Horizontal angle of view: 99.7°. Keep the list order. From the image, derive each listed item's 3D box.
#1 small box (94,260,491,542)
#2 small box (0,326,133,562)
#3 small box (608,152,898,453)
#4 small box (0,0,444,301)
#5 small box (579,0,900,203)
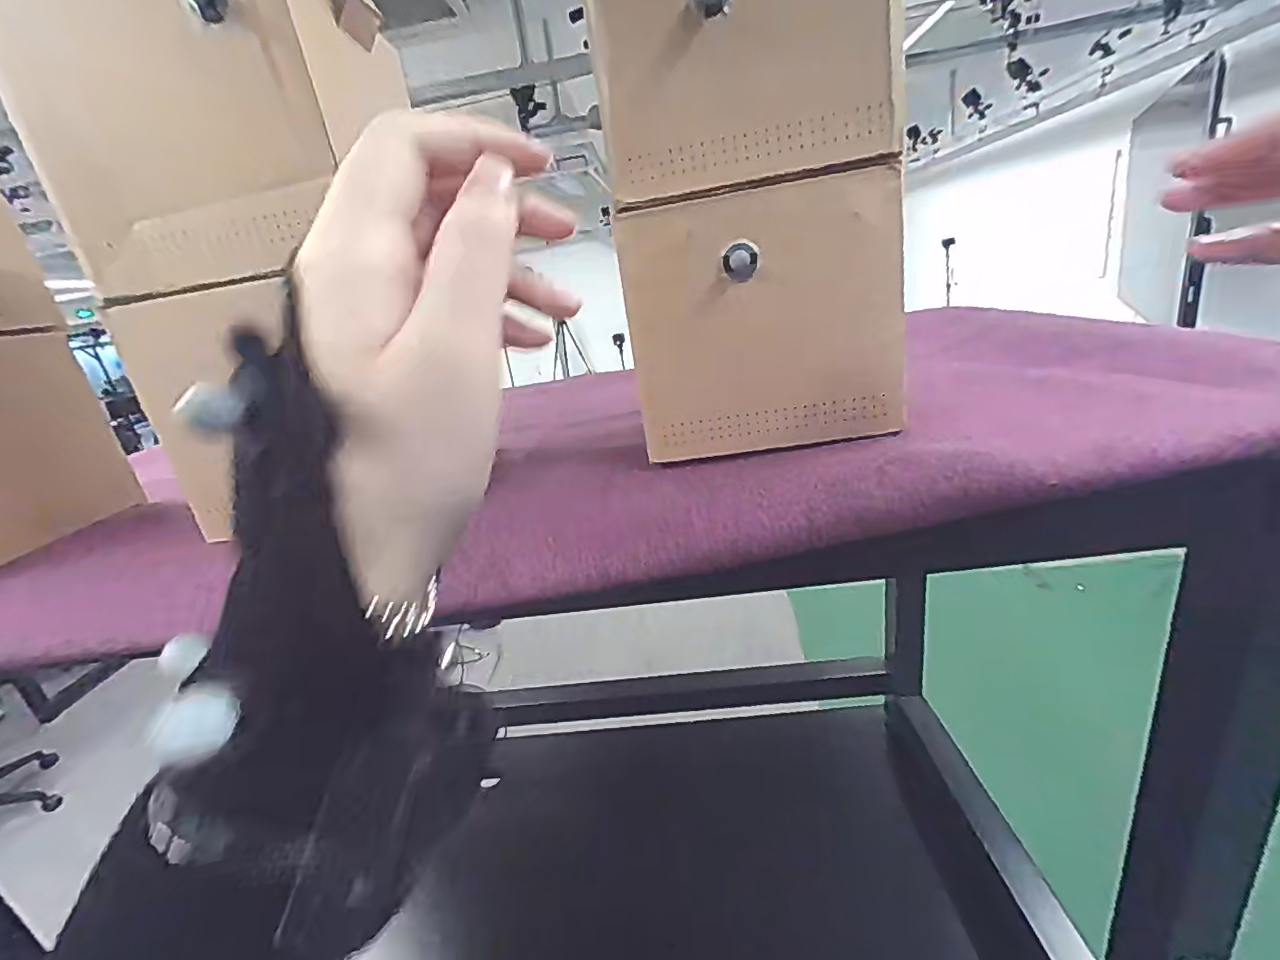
[{"bbox_3d":[-0.235,-0.068,0.425,0.179,0.176,0.168,-9,20,4],"label":"small box"},{"bbox_3d":[-0.574,-0.015,0.425,0.168,0.176,0.179,-7,21,3],"label":"small box"},{"bbox_3d":[0.084,-0.124,0.419,0.179,0.176,0.168,-7,18,7],"label":"small box"},{"bbox_3d":[-0.264,-0.220,0.373,0.179,0.176,0.168,-9,20,2],"label":"small box"},{"bbox_3d":[0.061,-0.279,0.370,0.179,0.176,0.168,-8,18,8],"label":"small box"}]
